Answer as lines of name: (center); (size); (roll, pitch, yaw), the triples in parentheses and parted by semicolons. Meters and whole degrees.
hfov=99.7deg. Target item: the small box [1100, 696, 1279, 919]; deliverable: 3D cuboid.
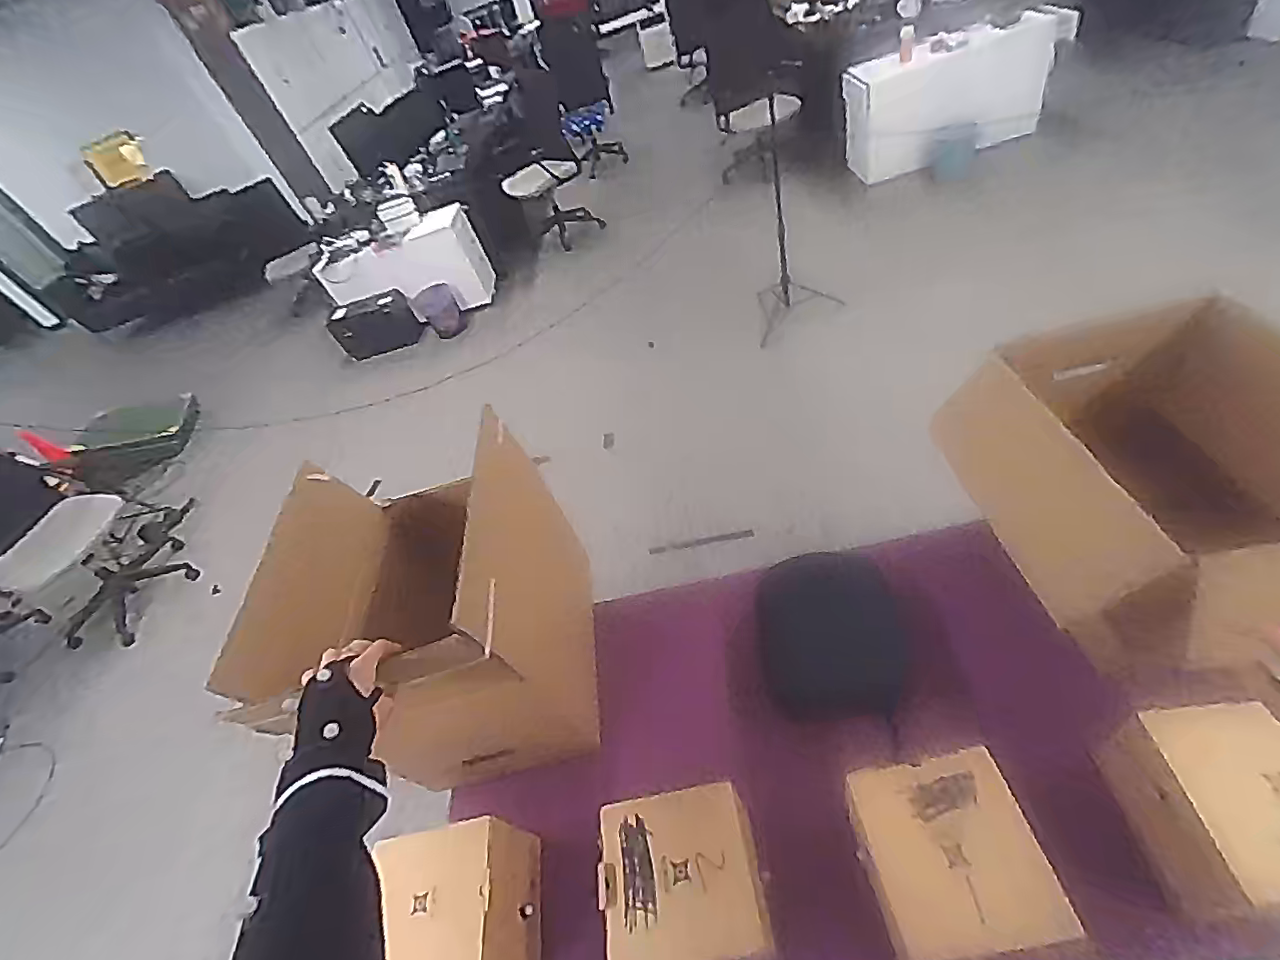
small box: (0.655, 0.357, 0.587); (0.168, 0.176, 0.179); (-11, 46, 13)

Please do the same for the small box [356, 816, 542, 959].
small box: (-0.248, 0.586, 0.736); (0.179, 0.176, 0.168); (-16, 45, 5)

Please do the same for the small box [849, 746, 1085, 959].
small box: (0.354, 0.441, 0.632); (0.168, 0.176, 0.179); (-16, 46, 7)
